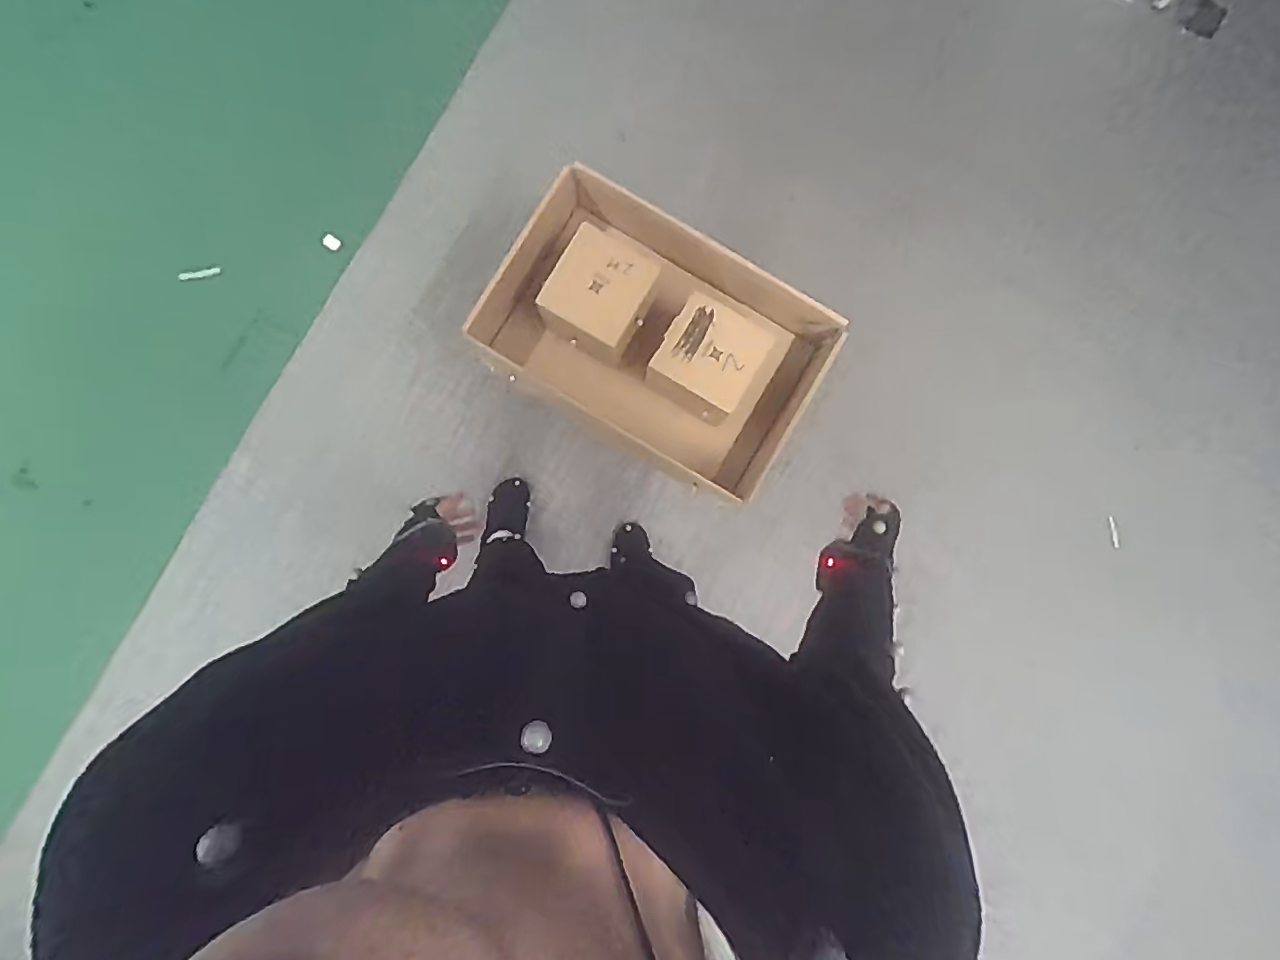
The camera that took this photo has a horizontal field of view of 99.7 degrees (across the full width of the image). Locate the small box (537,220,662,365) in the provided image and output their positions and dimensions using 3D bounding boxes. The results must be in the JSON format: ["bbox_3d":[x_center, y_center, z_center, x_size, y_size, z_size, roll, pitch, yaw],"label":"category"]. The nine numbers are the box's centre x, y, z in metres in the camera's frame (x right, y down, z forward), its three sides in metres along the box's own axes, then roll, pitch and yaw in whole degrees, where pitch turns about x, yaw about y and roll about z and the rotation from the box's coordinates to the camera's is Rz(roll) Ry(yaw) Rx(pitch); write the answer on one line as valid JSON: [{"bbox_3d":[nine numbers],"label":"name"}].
[{"bbox_3d":[-0.073,-0.345,1.037,0.168,0.176,0.179,32,87,-1],"label":"small box"}]
